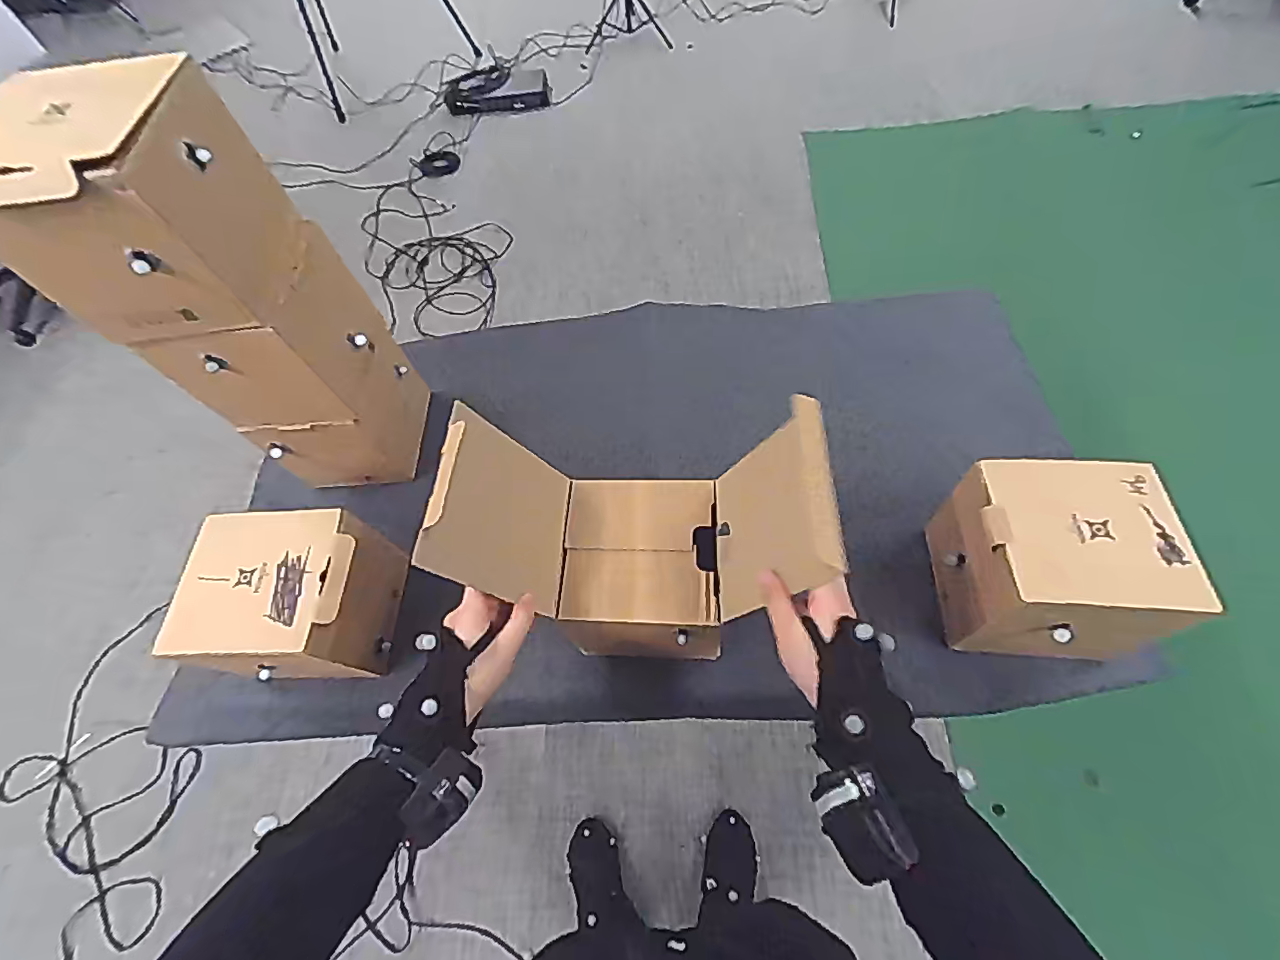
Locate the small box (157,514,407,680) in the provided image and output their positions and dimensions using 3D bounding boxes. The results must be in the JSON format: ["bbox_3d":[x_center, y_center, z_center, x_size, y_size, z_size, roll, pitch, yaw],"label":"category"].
[{"bbox_3d":[-0.418,0.150,0.671,0.179,0.176,0.168,-3,62,5],"label":"small box"}]

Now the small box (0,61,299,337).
[{"bbox_3d":[-0.468,-0.254,0.518,0.168,0.176,0.179,-6,61,1],"label":"small box"}]

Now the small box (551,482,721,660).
[{"bbox_3d":[0.007,0.114,0.647,0.179,0.176,0.168,0,61,6],"label":"small box"}]

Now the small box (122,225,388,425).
[{"bbox_3d":[-0.446,-0.180,0.661,0.179,0.176,0.168,-3,63,4],"label":"small box"}]

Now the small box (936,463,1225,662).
[{"bbox_3d":[0.453,0.096,0.602,0.179,0.176,0.168,2,58,8],"label":"small box"}]
